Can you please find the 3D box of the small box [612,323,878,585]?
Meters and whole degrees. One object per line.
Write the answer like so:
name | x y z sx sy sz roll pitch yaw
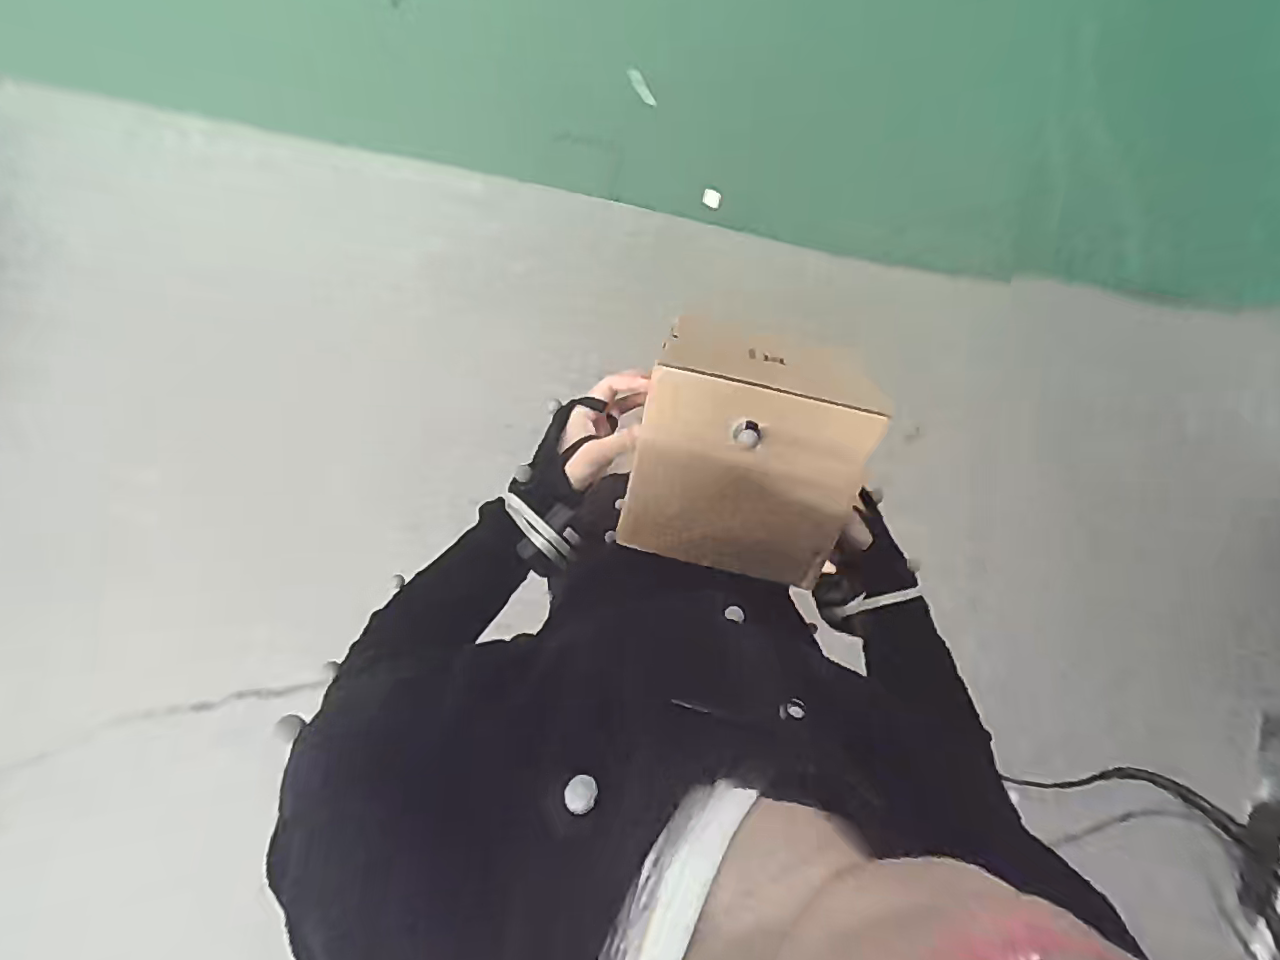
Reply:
small box | 0.083 -0.027 0.495 0.179 0.168 0.176 12 118 2

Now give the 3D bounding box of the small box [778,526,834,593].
small box | 0.384 0.181 1.432 0.168 0.176 0.179 17 87 -1
